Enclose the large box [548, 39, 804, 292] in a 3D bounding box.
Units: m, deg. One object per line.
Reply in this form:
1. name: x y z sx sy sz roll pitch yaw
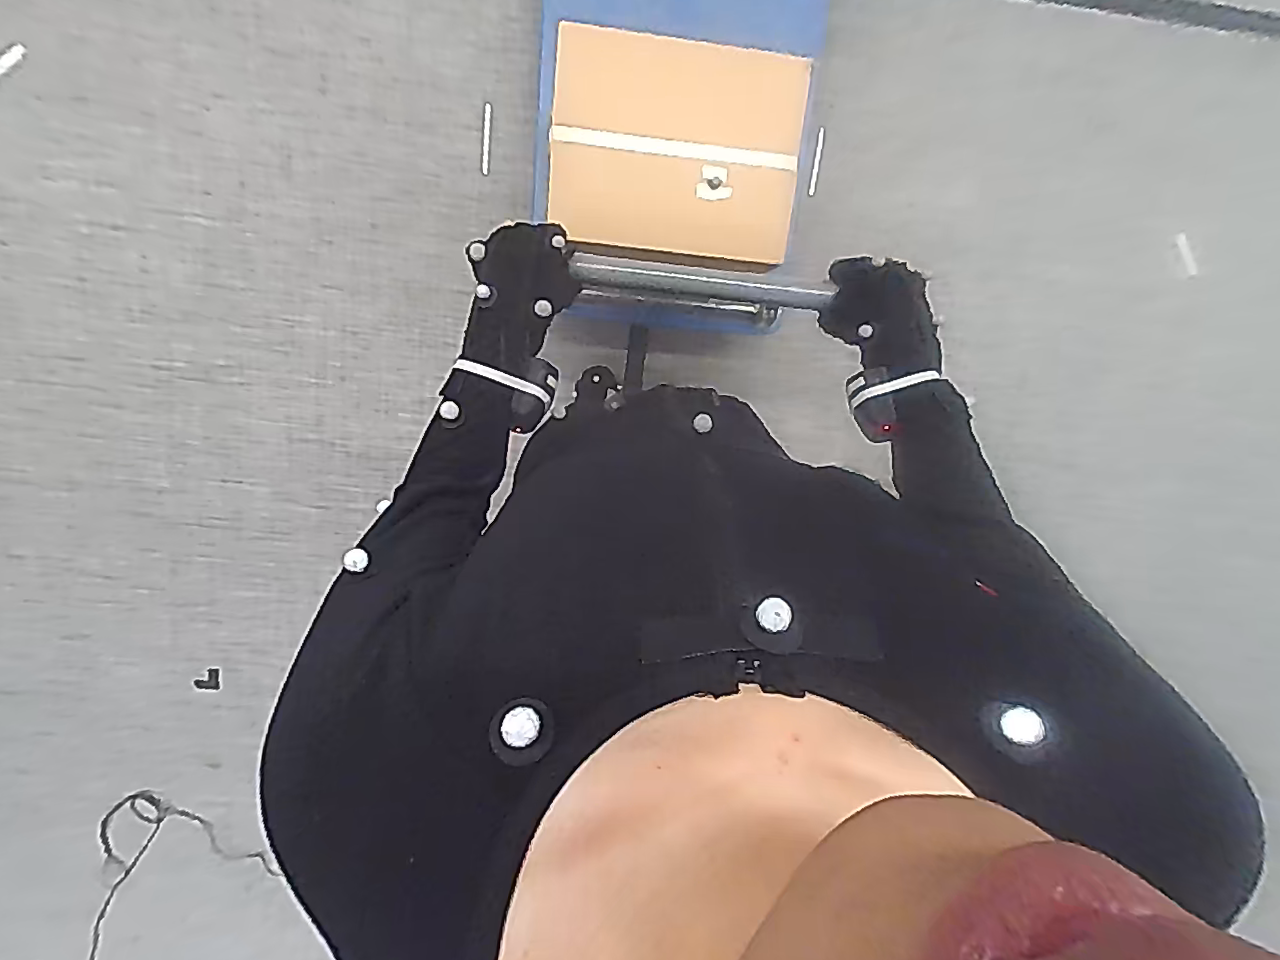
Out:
1. large box: 0.043 -0.551 1.023 0.408 0.320 0.320 4 102 -5
